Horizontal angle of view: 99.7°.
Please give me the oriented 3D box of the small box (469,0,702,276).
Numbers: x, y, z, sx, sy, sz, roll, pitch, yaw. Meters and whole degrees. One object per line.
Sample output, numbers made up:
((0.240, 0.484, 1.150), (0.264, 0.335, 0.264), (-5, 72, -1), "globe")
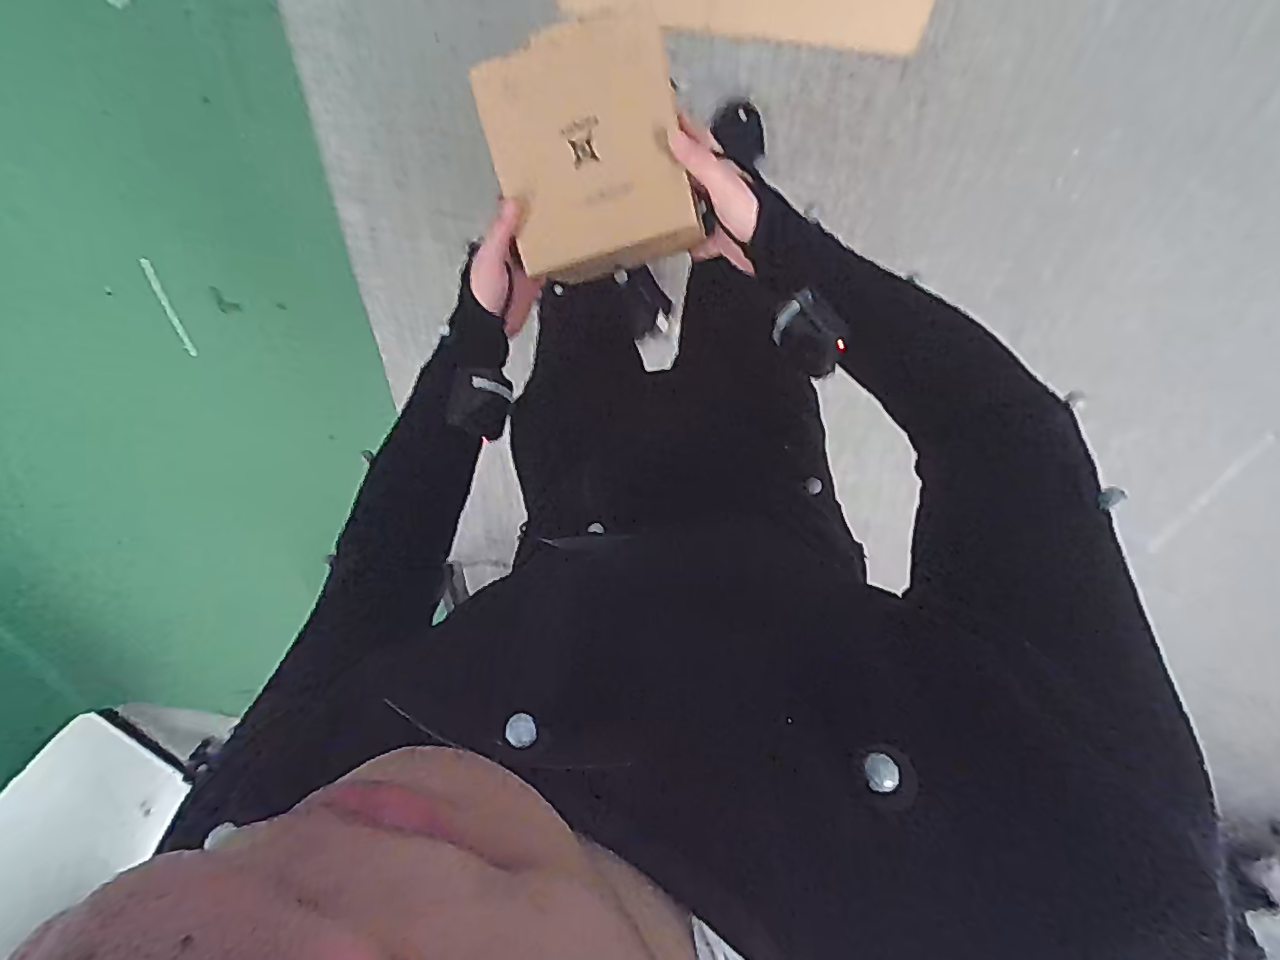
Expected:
((-0.037, -0.316, 0.536), (0.168, 0.176, 0.179), (-10, 104, 13), "small box")
